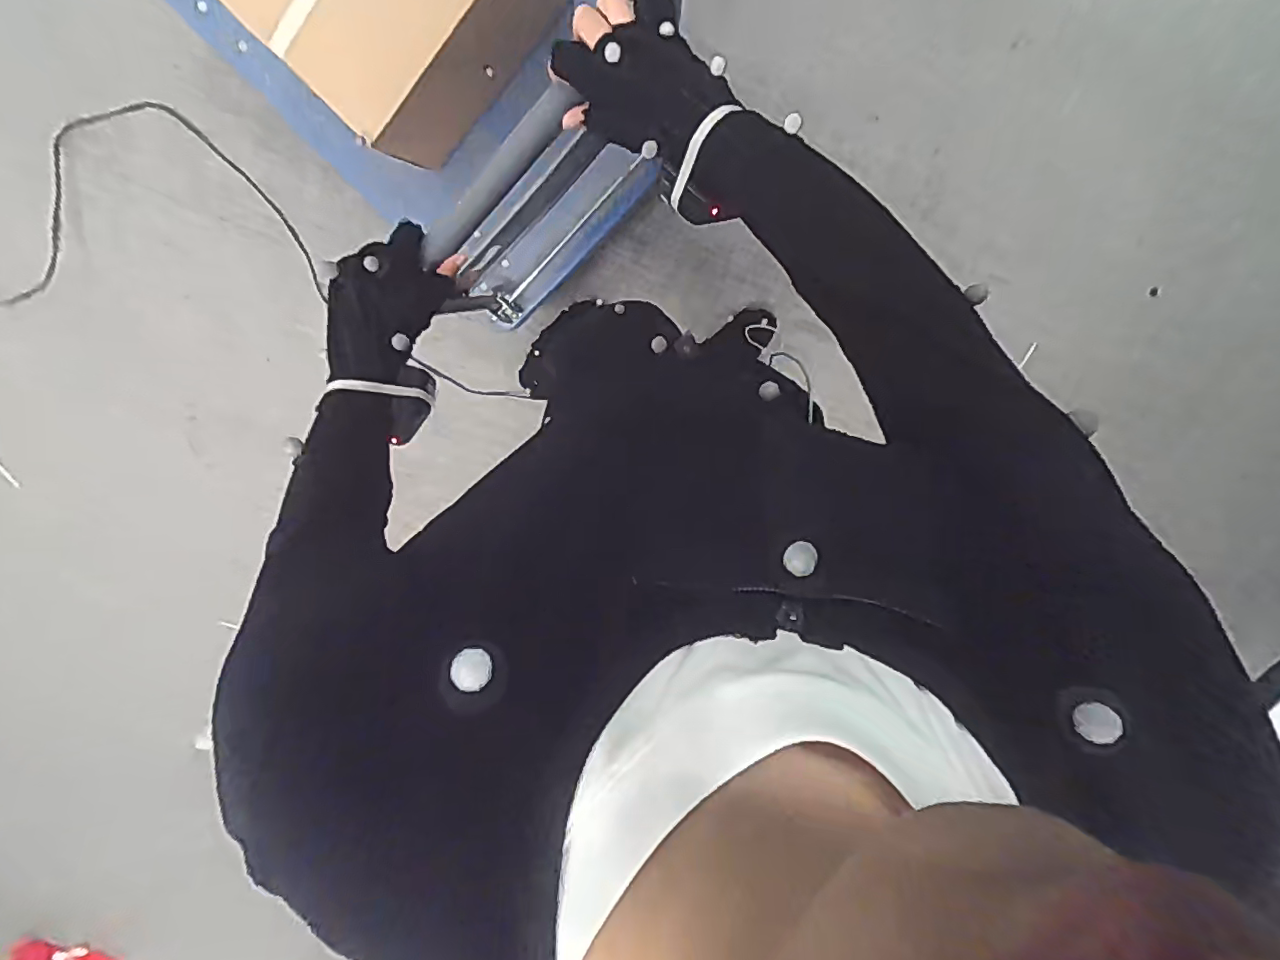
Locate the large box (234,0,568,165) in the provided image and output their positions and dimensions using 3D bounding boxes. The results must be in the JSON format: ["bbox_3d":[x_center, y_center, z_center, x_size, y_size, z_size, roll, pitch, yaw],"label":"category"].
[{"bbox_3d":[-0.359,-0.799,0.860,0.408,0.320,0.320,-42,106,17],"label":"large box"}]
